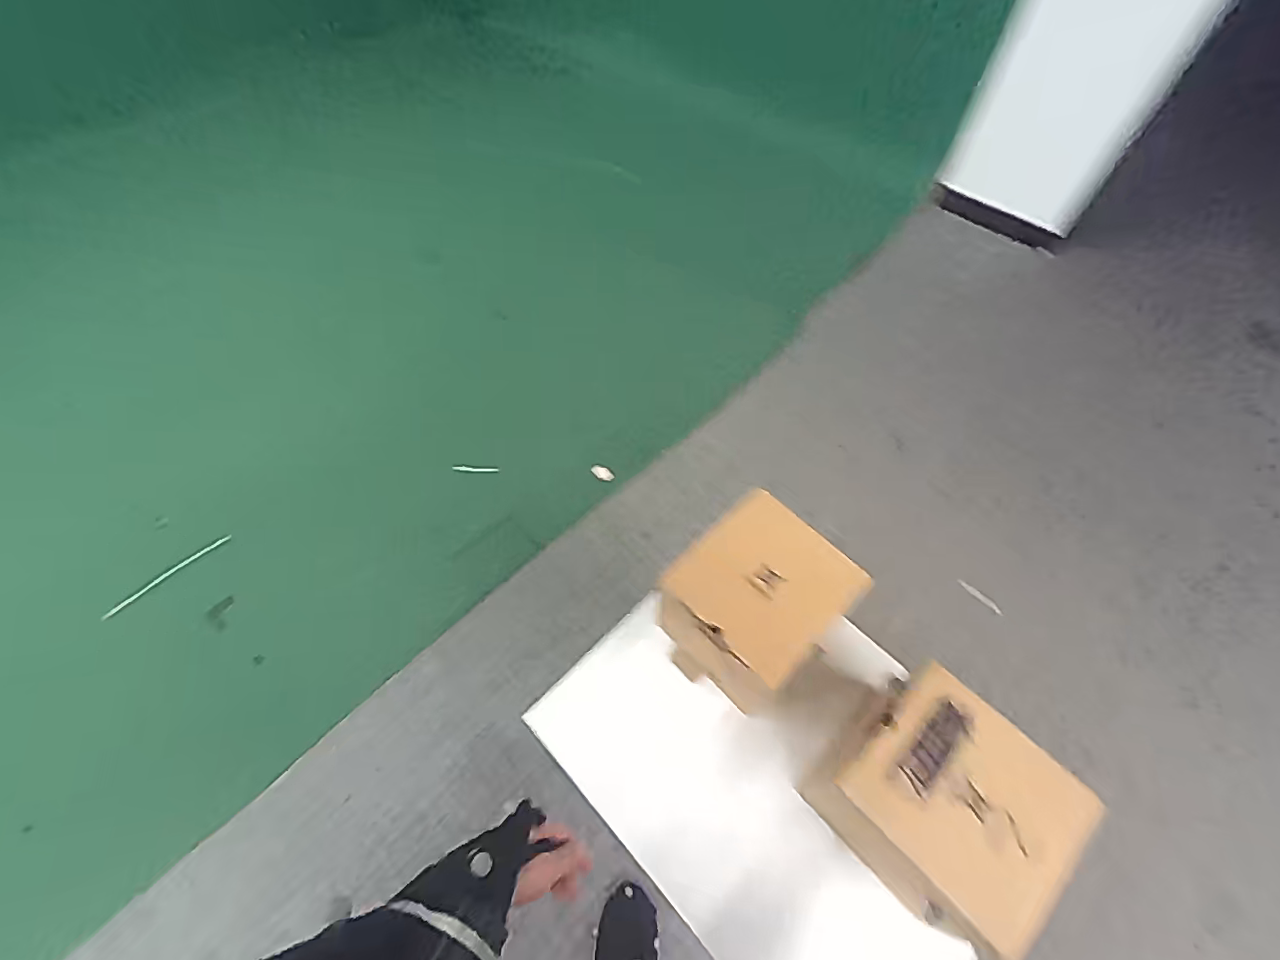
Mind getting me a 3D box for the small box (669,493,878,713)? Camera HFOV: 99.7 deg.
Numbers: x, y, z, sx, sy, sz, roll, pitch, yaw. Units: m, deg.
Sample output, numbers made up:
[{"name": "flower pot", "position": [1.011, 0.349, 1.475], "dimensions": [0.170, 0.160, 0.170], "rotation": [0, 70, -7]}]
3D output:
[{"name": "small box", "position": [0.147, 0.155, 0.665], "dimensions": [0.179, 0.176, 0.168], "rotation": [-39, 66, -20]}]
